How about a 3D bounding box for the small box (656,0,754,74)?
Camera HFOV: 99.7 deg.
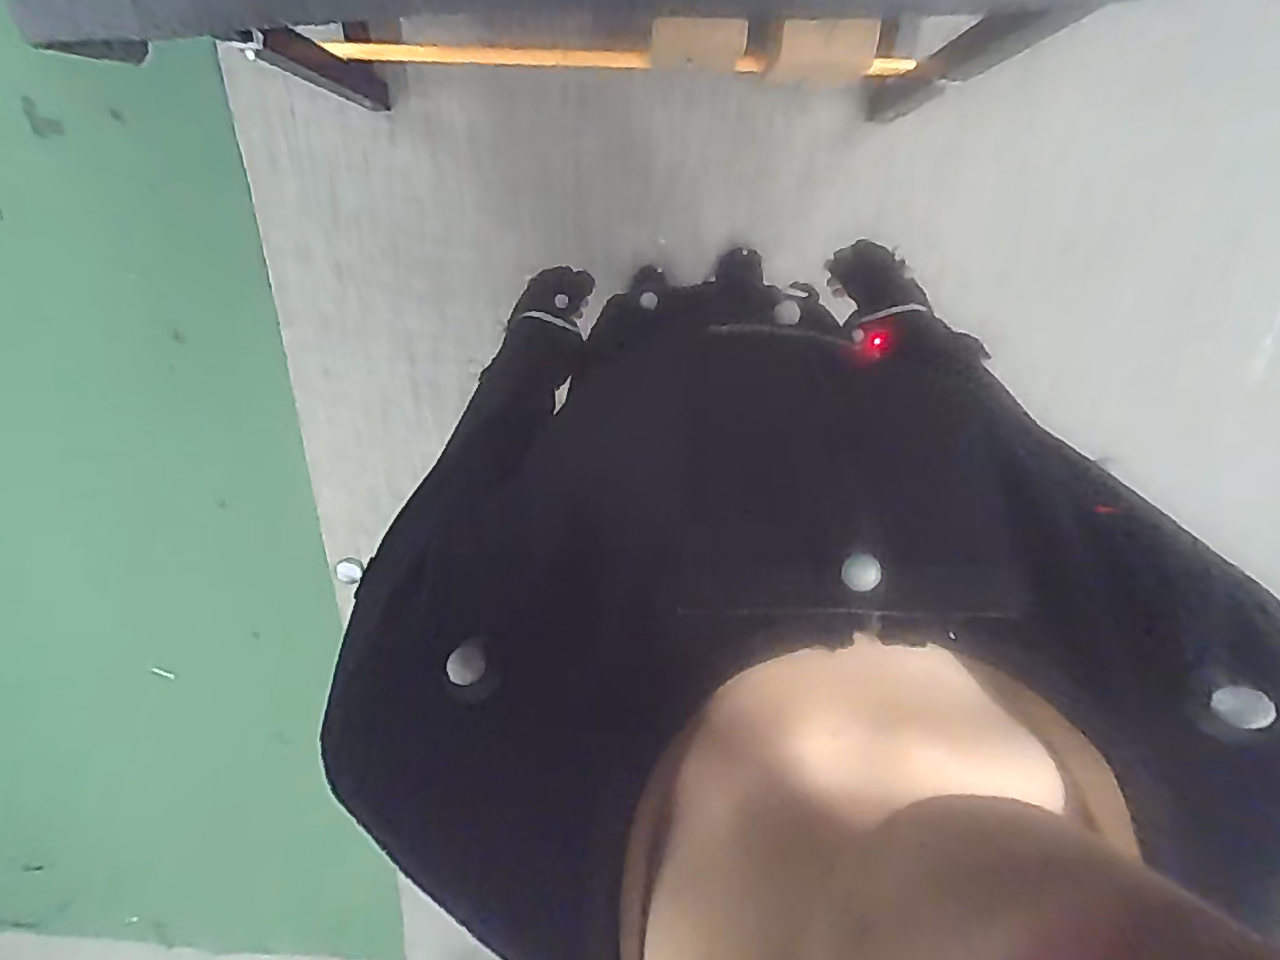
[{"bbox_3d":[0.116,-0.857,0.974,0.168,0.176,0.179,2,114,1],"label":"small box"}]
